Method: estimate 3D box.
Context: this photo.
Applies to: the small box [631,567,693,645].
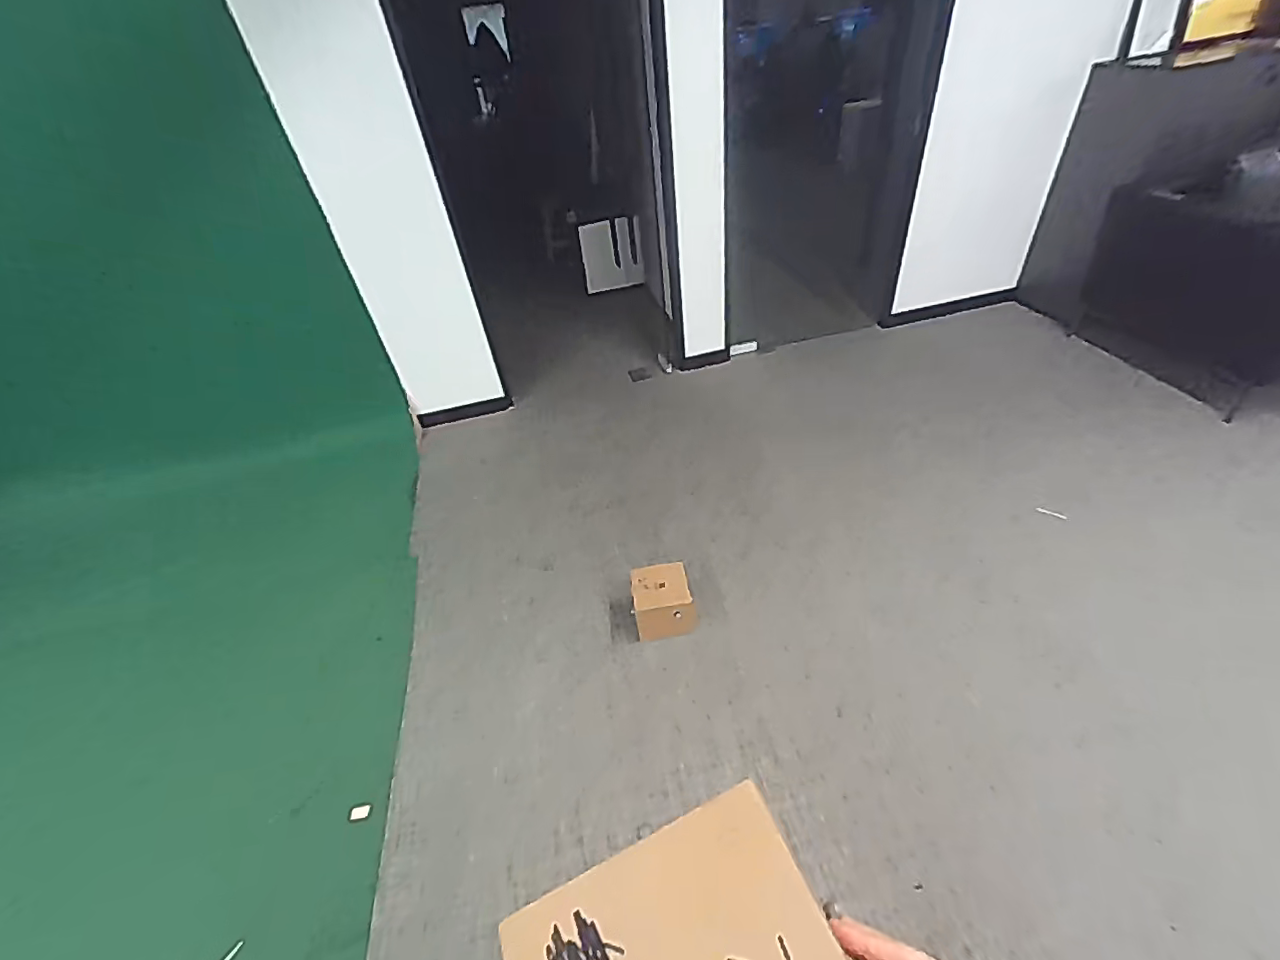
[{"bbox_3d":[0.071,0.404,1.724,0.179,0.176,0.168,-9,41,-1],"label":"small box"}]
